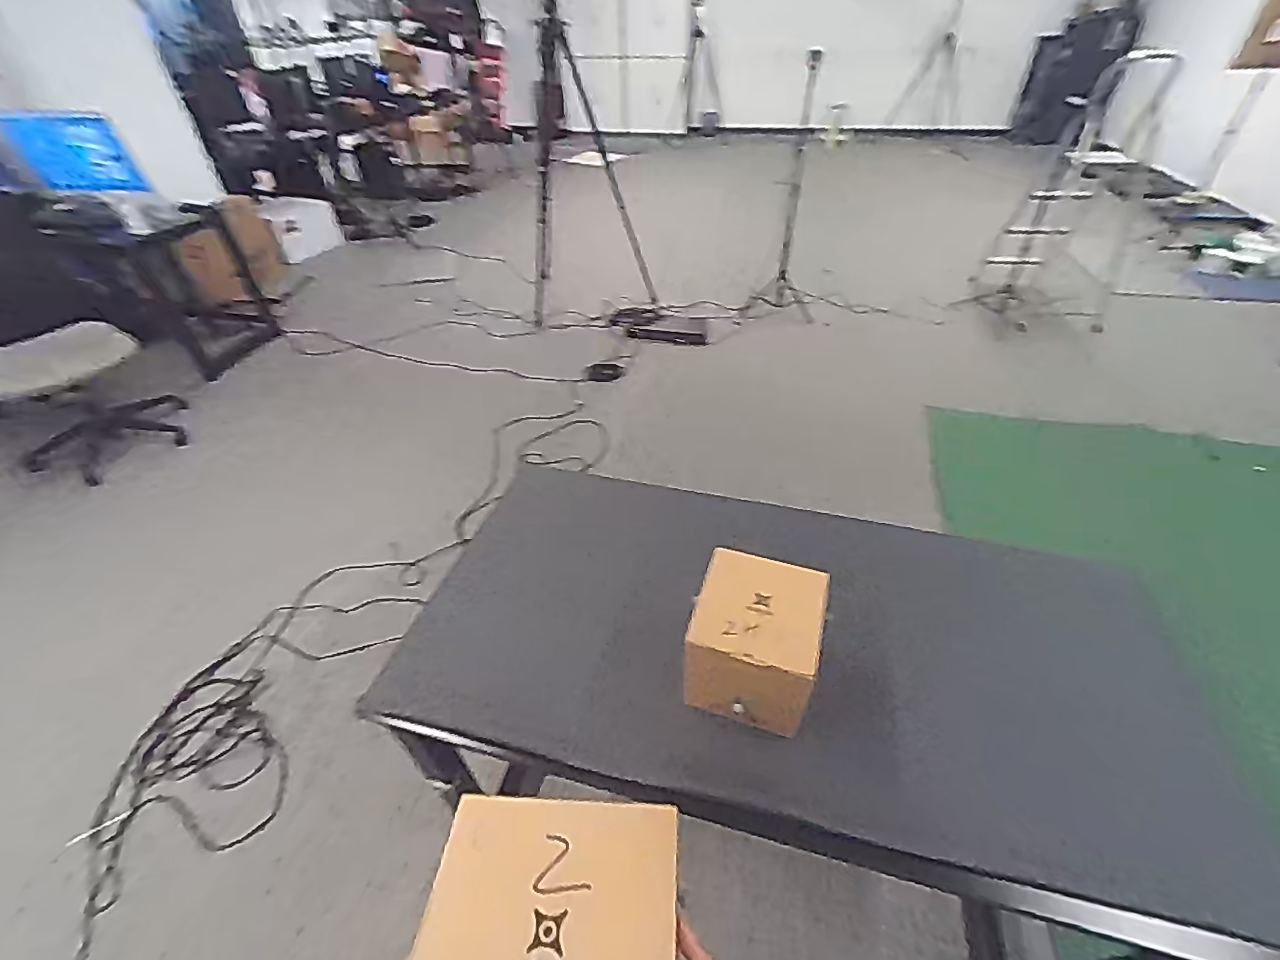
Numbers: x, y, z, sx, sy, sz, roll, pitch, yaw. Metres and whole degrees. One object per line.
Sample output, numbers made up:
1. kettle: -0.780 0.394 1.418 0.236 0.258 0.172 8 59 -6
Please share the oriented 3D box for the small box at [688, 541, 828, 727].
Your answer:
1. small box: 0.168 0.223 0.791 0.168 0.176 0.179 12 43 16
